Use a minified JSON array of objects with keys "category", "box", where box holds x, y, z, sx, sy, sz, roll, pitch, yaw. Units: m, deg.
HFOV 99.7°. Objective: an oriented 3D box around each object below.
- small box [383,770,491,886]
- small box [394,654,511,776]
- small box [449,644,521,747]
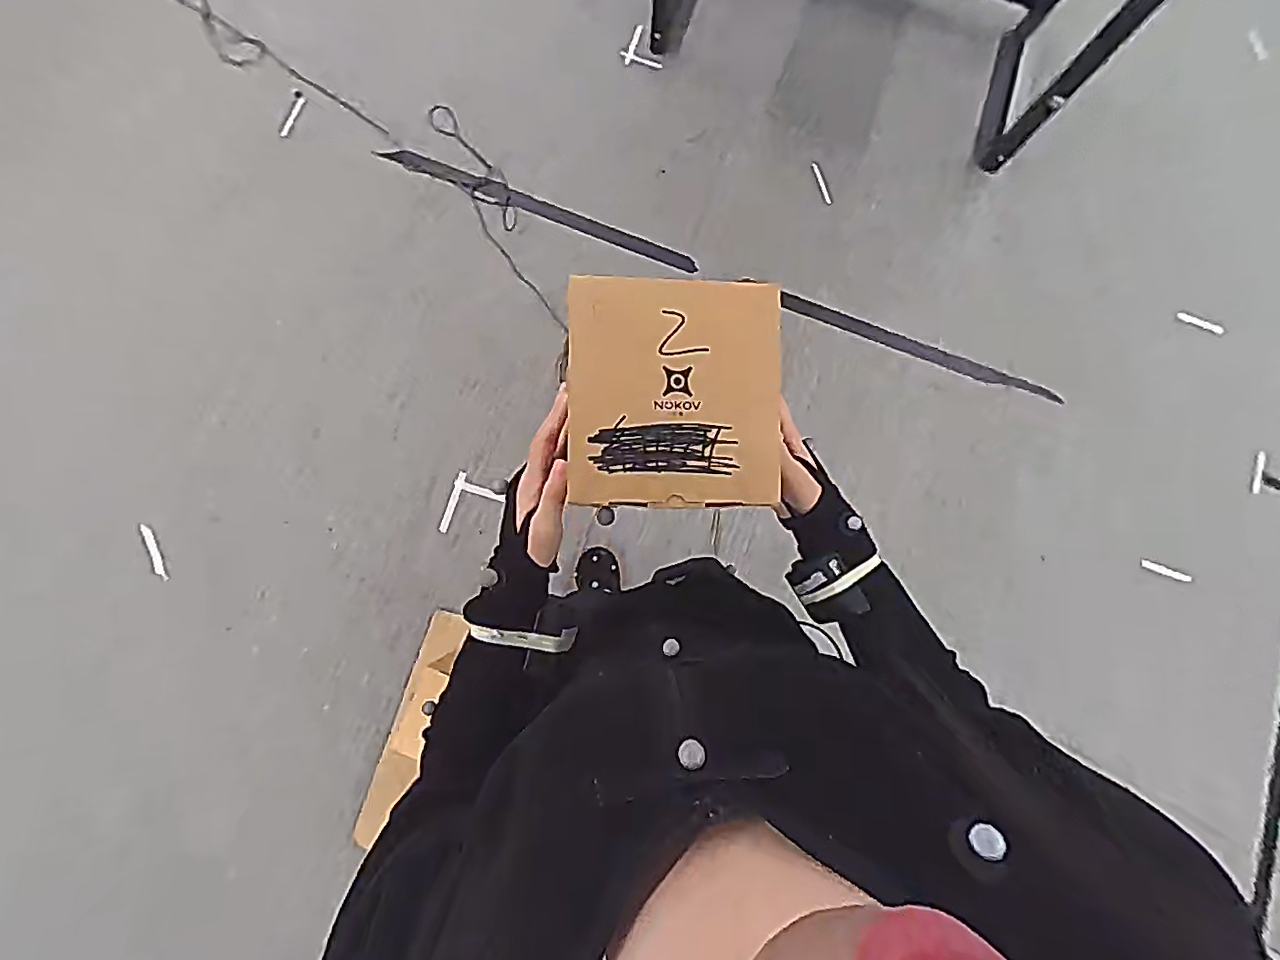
[{"category":"small box","box":[-0.479,0.826,1.303,0.179,0.176,0.168,13,83,-1]},{"category":"small box","box":[-0.398,0.504,1.188,0.168,0.176,0.179,22,80,0]},{"category":"small box","box":[-0.407,0.529,1.348,0.168,0.176,0.179,19,80,-1]}]
